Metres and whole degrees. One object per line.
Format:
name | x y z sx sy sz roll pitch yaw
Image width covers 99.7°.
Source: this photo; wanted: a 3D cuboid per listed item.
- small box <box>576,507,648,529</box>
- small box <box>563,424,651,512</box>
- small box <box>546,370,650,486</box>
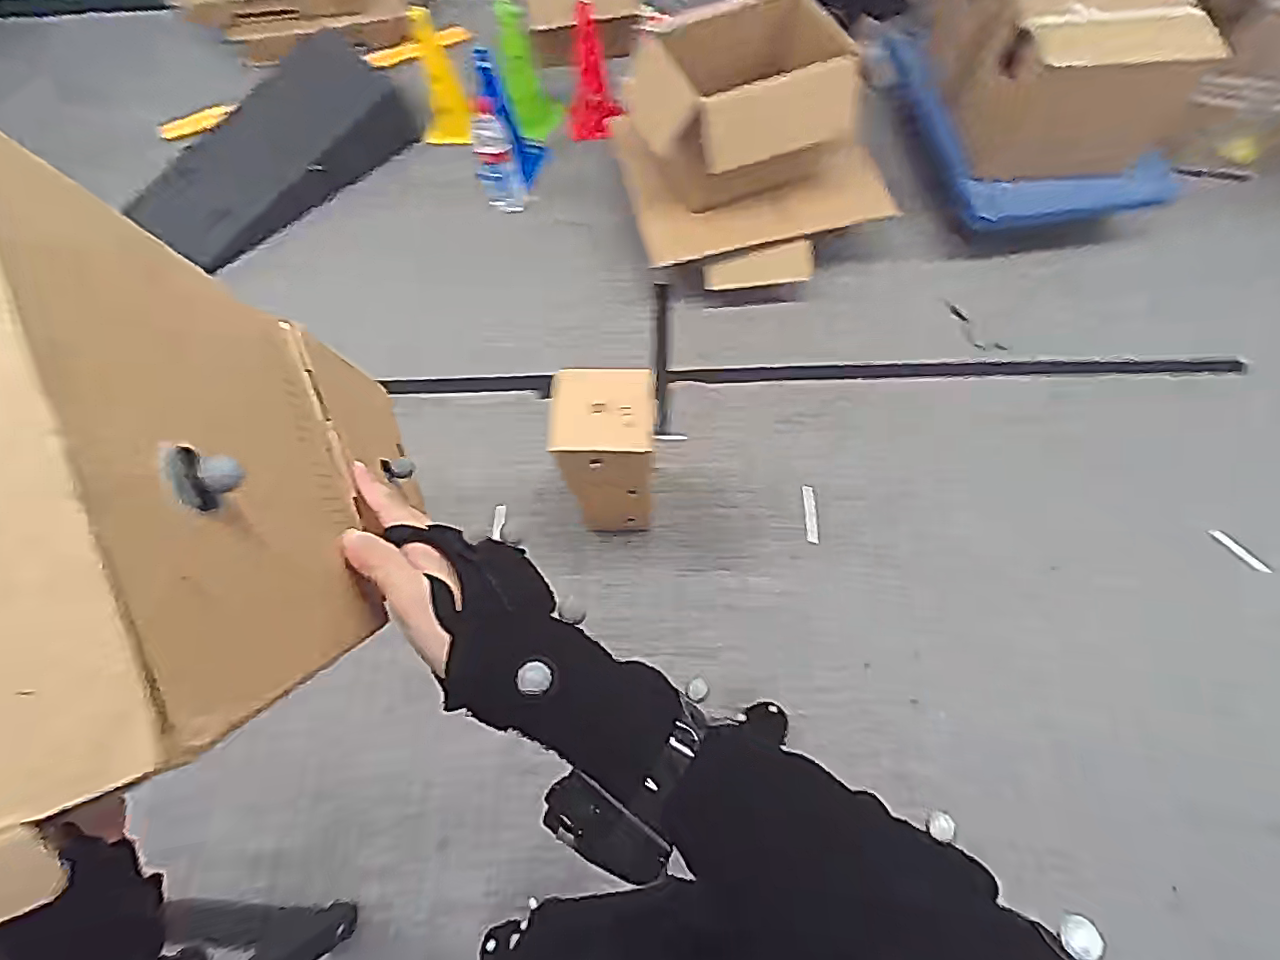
small box | -0.063 0.020 1.332 0.168 0.176 0.179 -1 68 0
small box | -0.065 -0.031 1.178 0.179 0.176 0.168 0 69 1
small box | -0.071 -0.092 1.024 0.179 0.176 0.168 1 69 1
